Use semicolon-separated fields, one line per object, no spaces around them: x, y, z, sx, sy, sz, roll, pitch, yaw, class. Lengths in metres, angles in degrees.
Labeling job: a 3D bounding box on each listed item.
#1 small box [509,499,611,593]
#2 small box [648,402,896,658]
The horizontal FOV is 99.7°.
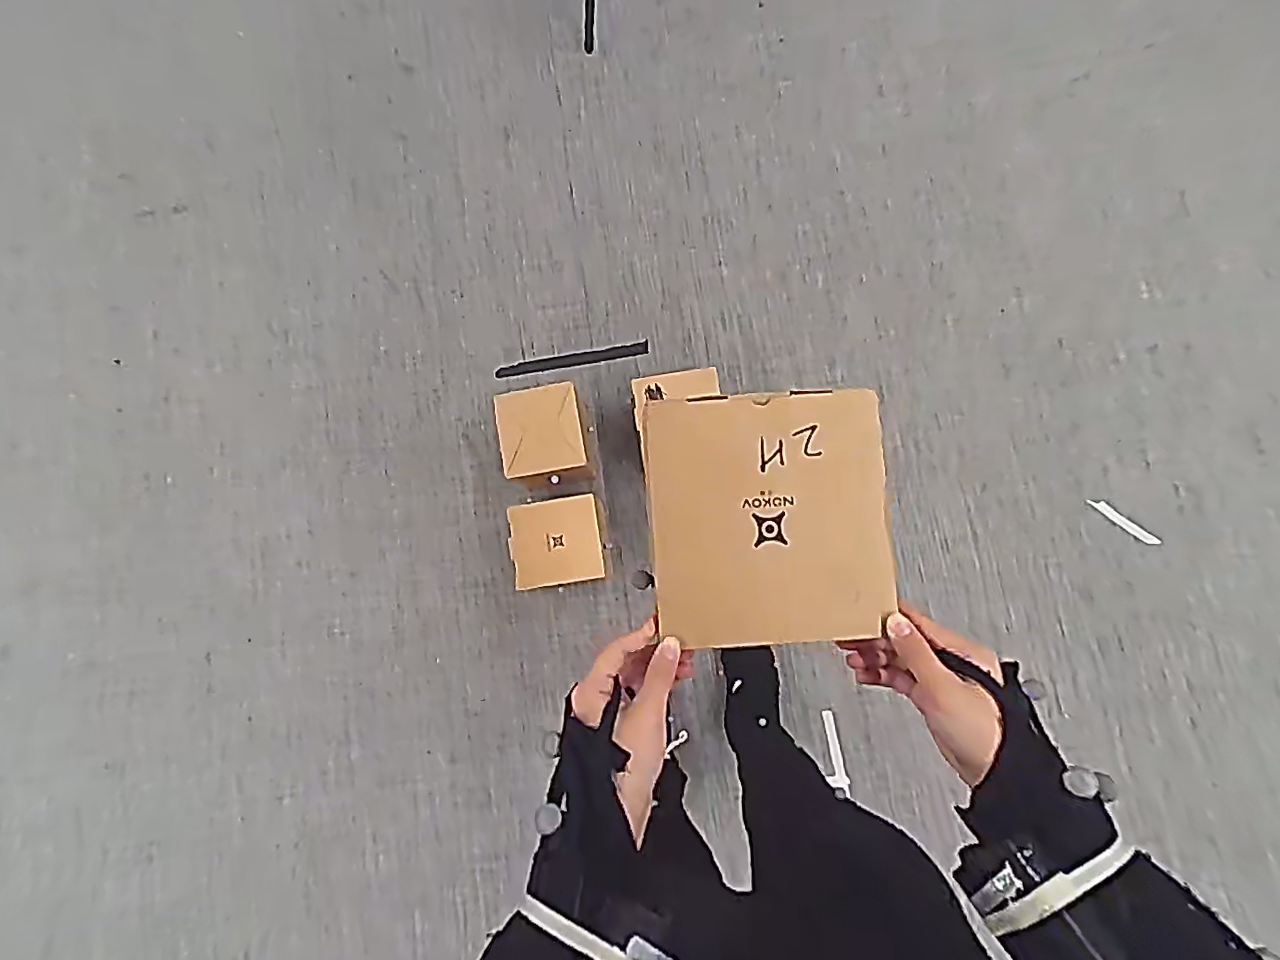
-0.159;0.137;1.129;0.179;0.176;0.168;-9;82;2;small box
0.093;0.039;0.458;0.168;0.176;0.179;-3;85;-1;small box
